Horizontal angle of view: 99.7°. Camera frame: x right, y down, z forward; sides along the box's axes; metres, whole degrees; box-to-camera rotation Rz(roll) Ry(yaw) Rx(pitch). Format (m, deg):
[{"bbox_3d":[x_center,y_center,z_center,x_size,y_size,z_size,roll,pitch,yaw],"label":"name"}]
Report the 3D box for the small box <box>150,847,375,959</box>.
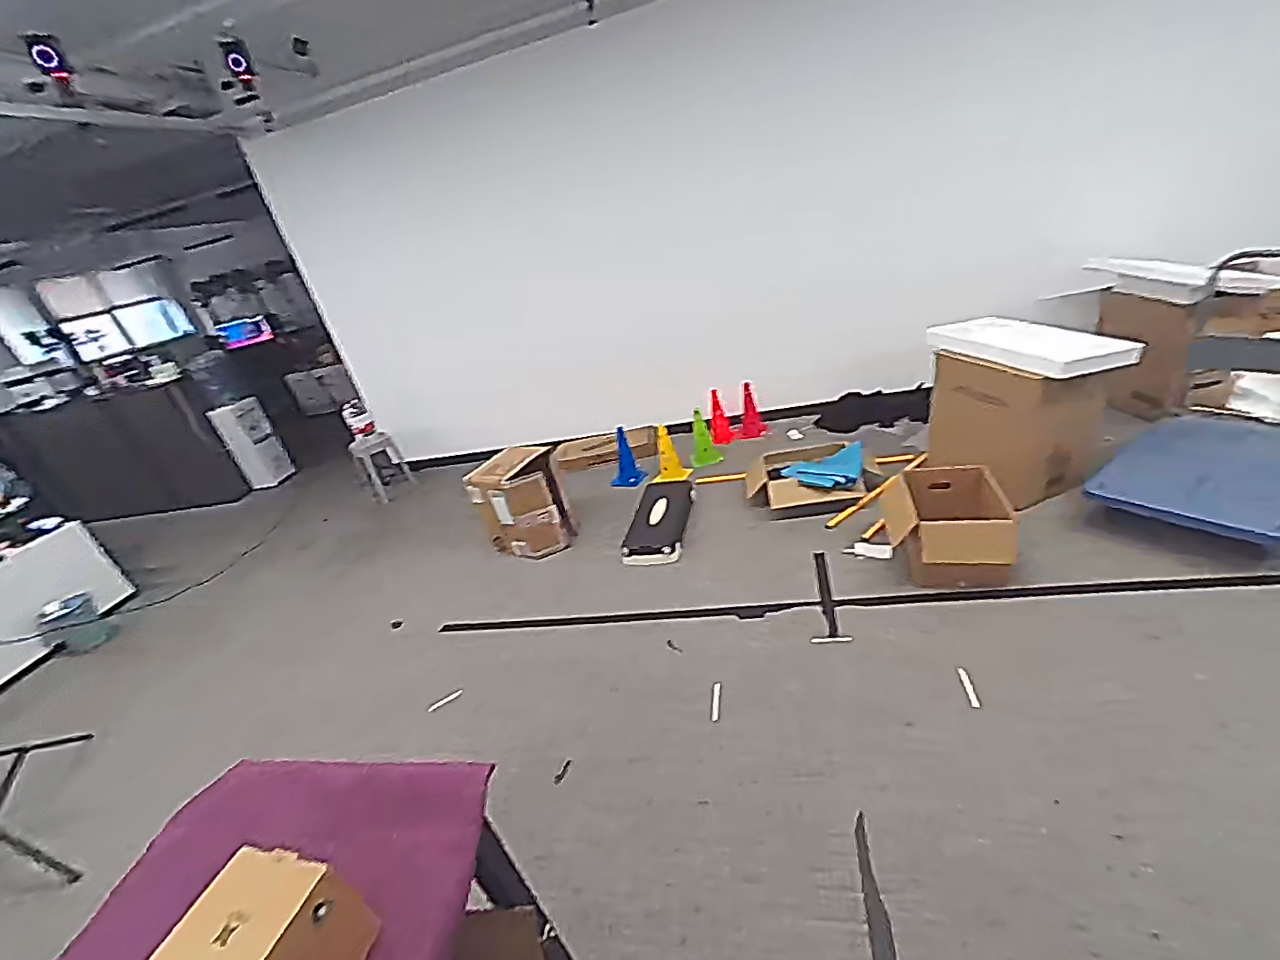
[{"bbox_3d":[-0.488,0.625,0.702,0.168,0.176,0.179,-4,28,19],"label":"small box"}]
